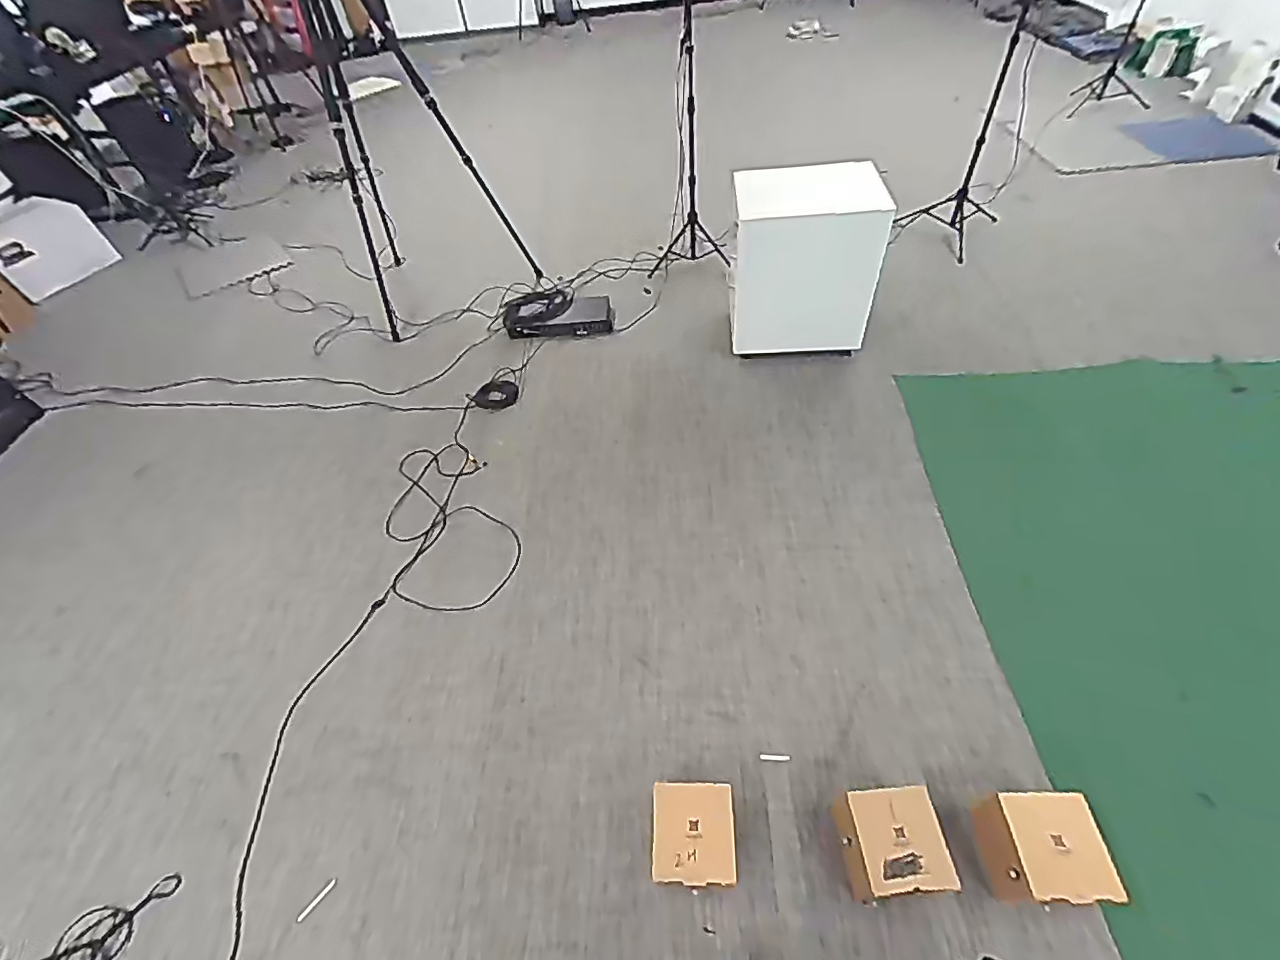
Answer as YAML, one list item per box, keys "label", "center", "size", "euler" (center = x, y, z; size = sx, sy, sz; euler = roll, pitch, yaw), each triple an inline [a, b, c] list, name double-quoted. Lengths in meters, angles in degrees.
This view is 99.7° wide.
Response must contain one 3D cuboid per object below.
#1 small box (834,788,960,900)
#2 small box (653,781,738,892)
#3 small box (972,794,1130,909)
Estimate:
- label: "small box"
  center: [0.518, 0.756, 1.119]
  size: [0.168, 0.176, 0.179]
  euler: [-5, 49, 1]
- label: "small box"
  center: [0.118, 0.763, 1.156]
  size: [0.168, 0.176, 0.179]
  euler: [-2, 50, 6]
- label: "small box"
  center: [0.810, 0.751, 1.093]
  size: [0.168, 0.176, 0.179]
  euler: [-3, 50, 5]
